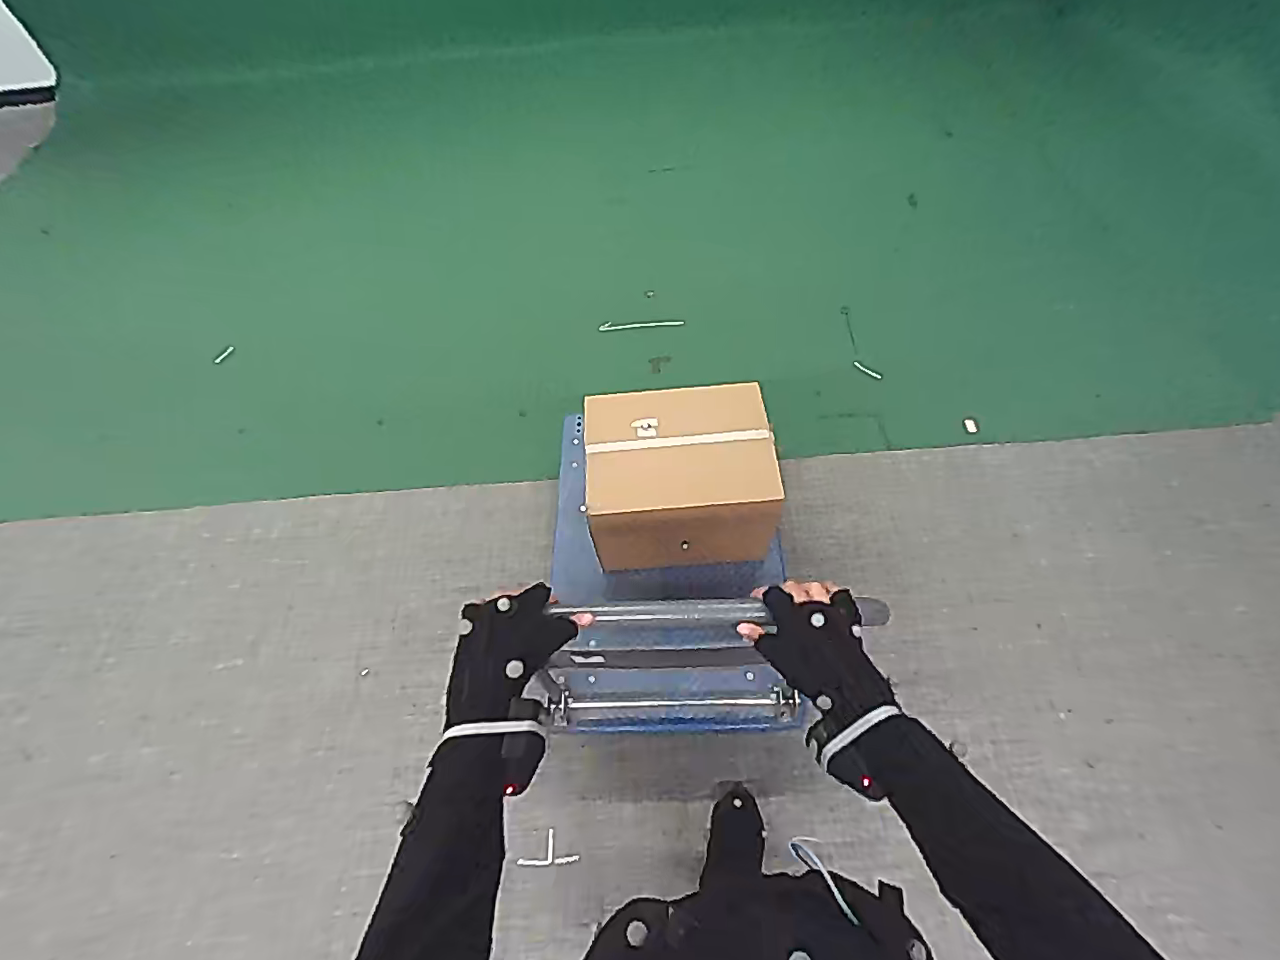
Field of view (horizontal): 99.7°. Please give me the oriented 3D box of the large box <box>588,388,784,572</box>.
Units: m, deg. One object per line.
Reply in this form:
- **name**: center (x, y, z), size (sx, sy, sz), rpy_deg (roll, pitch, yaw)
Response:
- **large box**: center (0.098, 0.011, 1.302), size (0.408, 0.320, 0.320), rpy_deg (-5, 57, 1)
